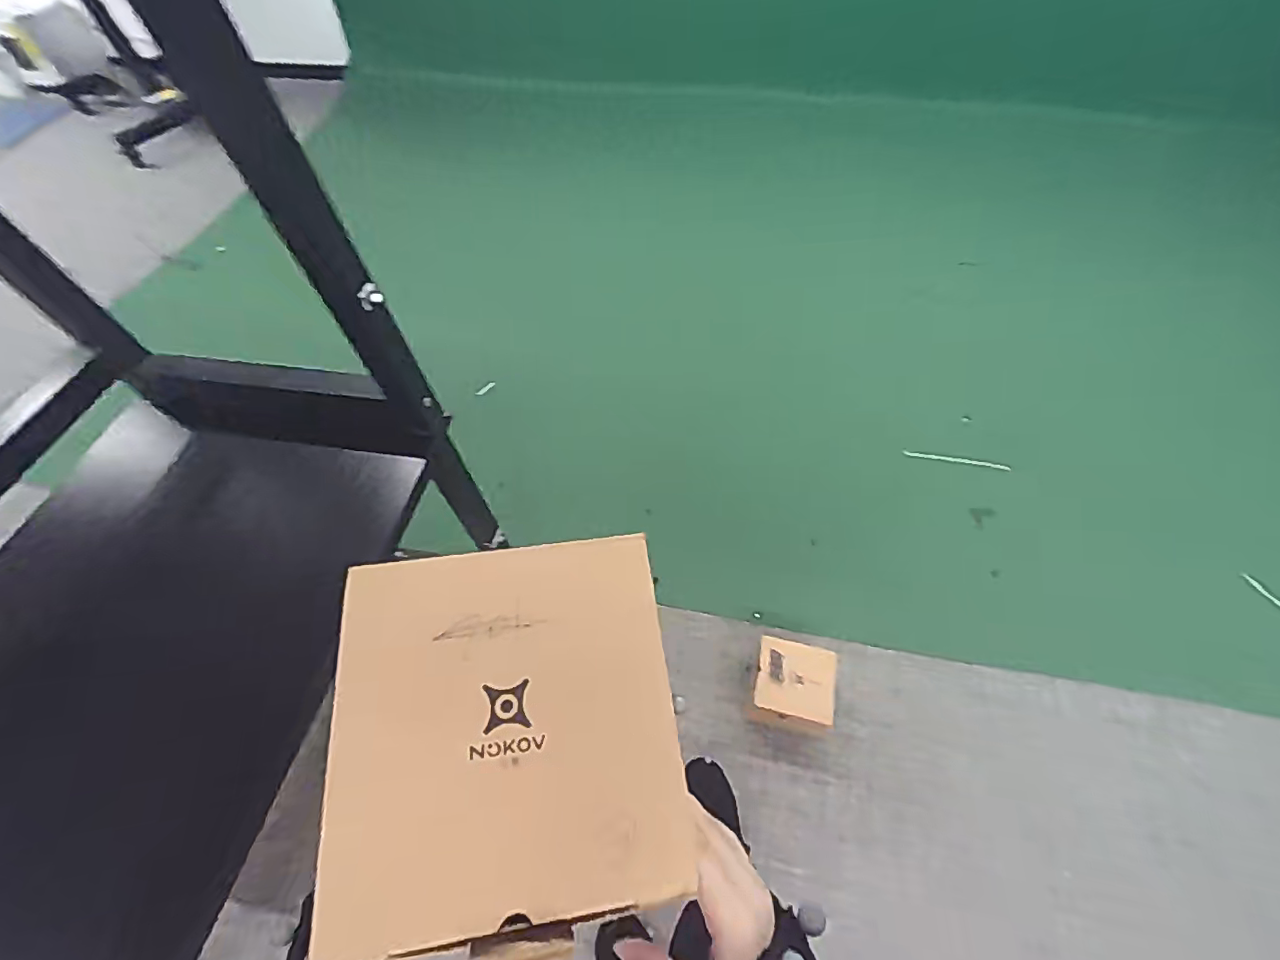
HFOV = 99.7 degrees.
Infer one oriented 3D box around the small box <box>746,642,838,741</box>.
[{"bbox_3d":[0.355,0.506,1.282,0.179,0.176,0.168,12,58,9],"label":"small box"}]
